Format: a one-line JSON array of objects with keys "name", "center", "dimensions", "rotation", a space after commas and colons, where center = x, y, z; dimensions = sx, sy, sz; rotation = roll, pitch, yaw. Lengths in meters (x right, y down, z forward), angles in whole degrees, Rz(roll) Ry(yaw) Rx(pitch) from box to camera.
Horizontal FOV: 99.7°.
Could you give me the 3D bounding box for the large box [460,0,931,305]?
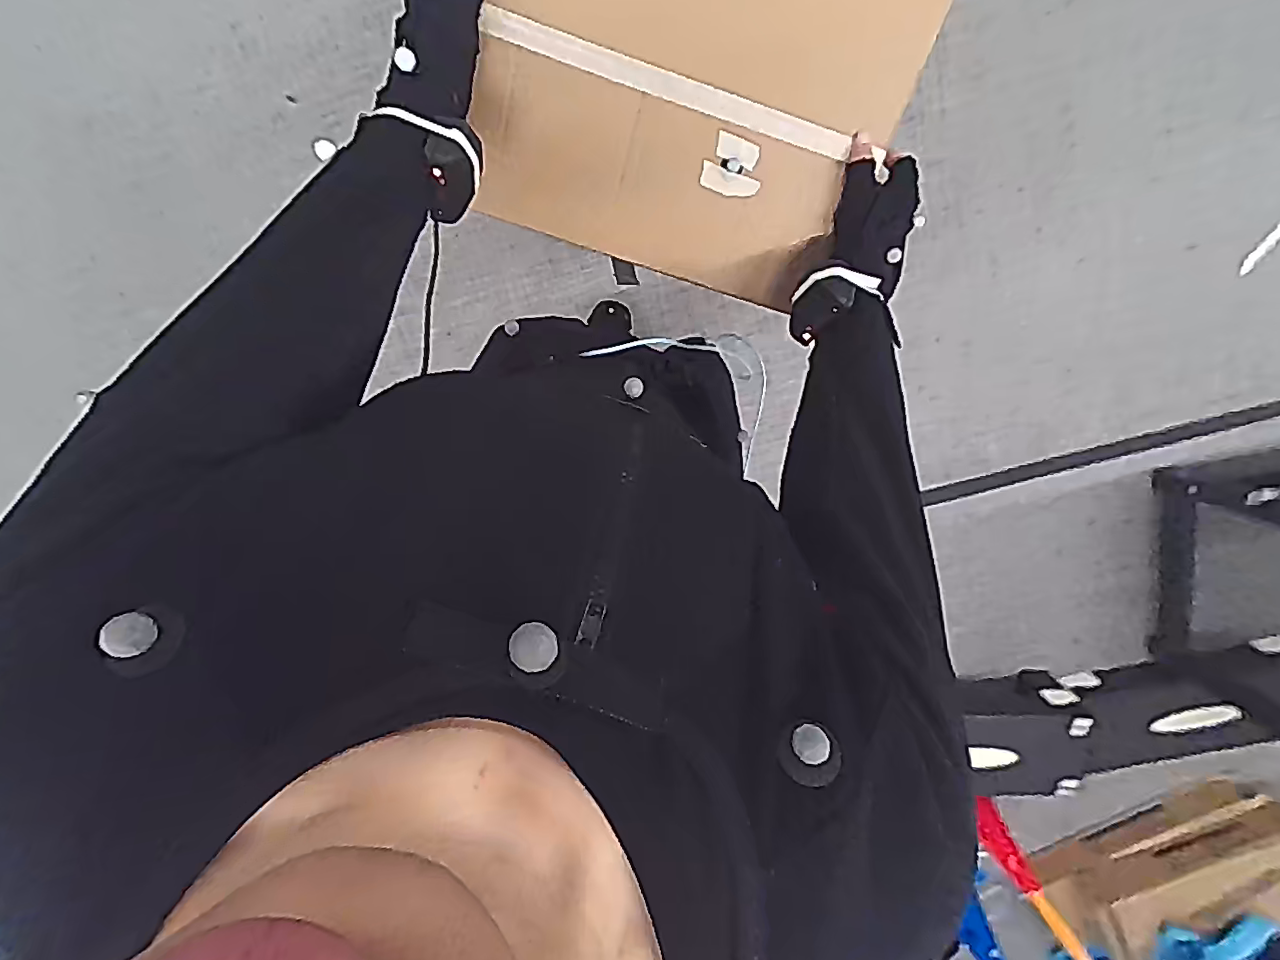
[{"name": "large box", "center": [0.039, -0.437, 0.655], "dimensions": [0.408, 0.320, 0.320], "rotation": [15, 116, -7]}]
